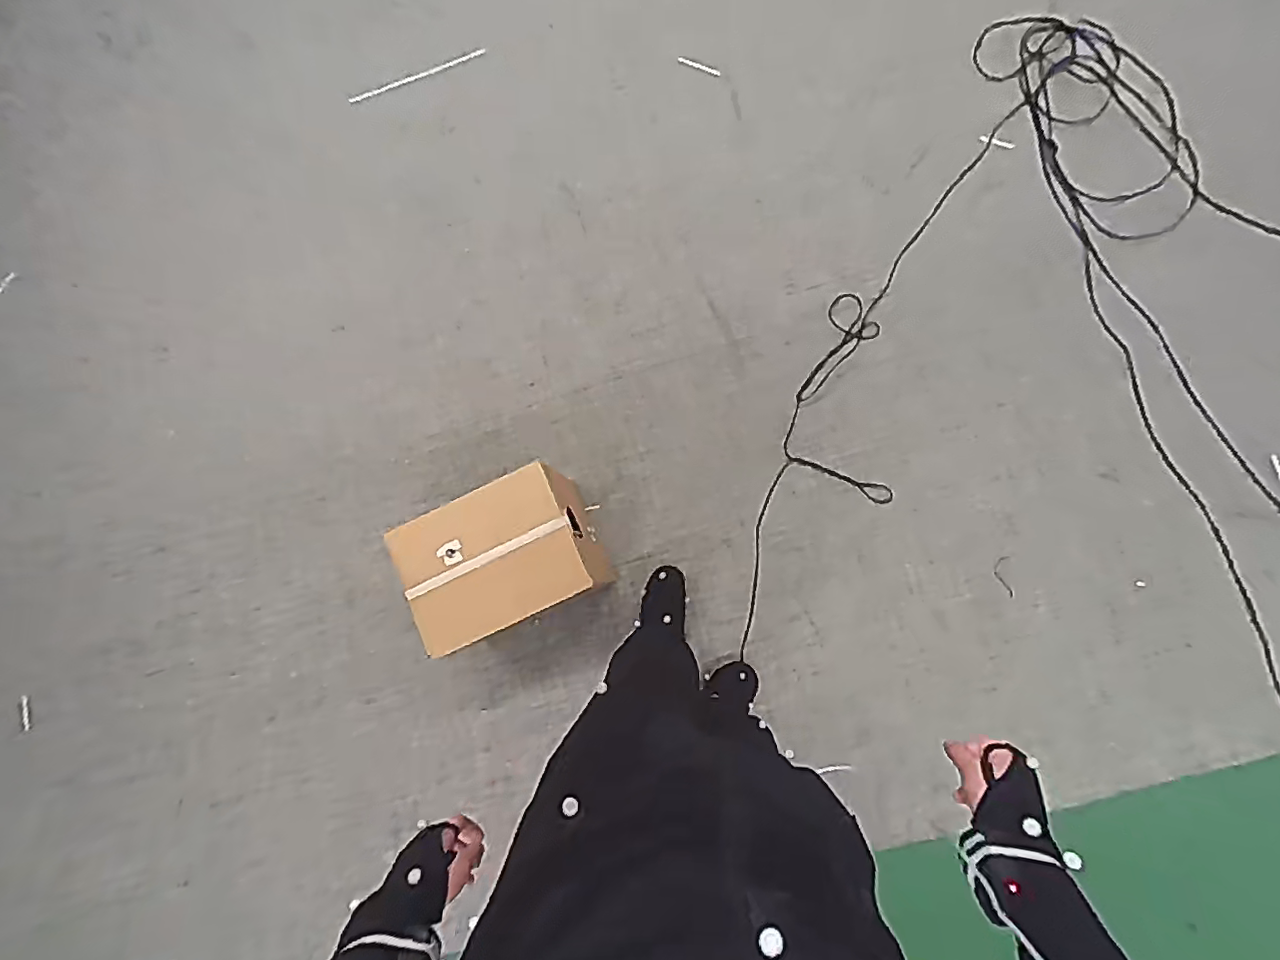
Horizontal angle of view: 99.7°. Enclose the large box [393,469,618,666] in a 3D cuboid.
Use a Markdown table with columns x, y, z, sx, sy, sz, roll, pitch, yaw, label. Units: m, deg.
| x | y | z | sx | sy | sz | roll | pitch | yaw | label |
| --- | --- | --- | --- | --- | --- | --- | --- | --- | --- |
| -0.317 | 0.213 | 1.366 | 0.408 | 0.320 | 0.320 | -26 | 79 | 3 | large box |
